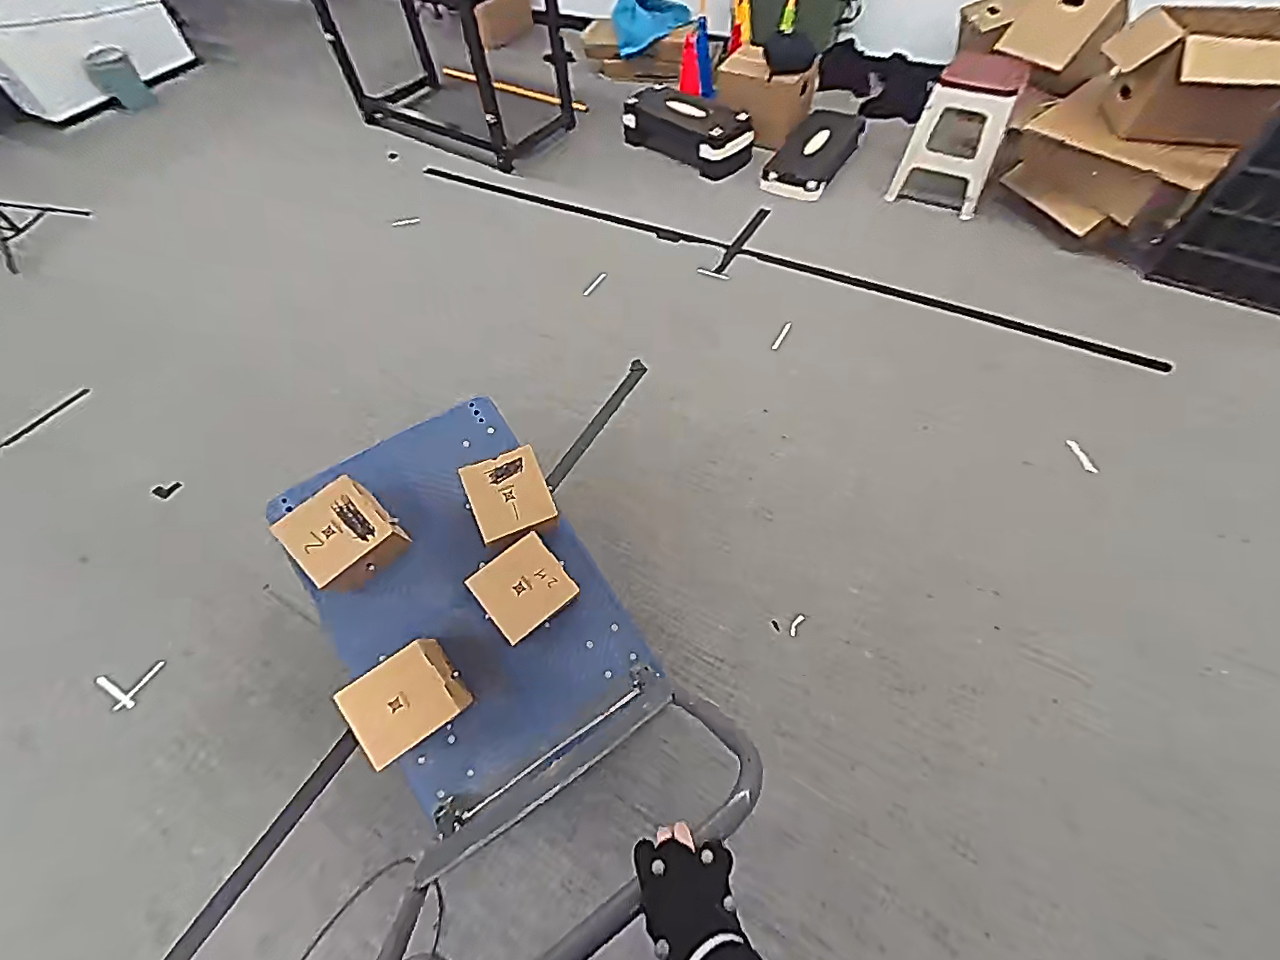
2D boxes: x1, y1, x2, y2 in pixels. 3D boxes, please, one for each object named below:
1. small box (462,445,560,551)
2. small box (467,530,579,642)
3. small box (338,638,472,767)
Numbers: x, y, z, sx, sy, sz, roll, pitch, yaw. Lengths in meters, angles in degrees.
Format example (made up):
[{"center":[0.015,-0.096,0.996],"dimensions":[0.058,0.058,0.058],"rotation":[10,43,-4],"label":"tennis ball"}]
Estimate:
[{"center":[-0.291,0.047,1.243],"dimensions":[0.168,0.176,0.179],"rotation":[-21,79,-13],"label":"small box"},{"center":[-0.249,0.239,1.193],"dimensions":[0.179,0.176,0.168],"rotation":[-37,82,-16],"label":"small box"},{"center":[-0.467,0.445,1.104],"dimensions":[0.179,0.176,0.168],"rotation":[-34,81,-17],"label":"small box"}]
